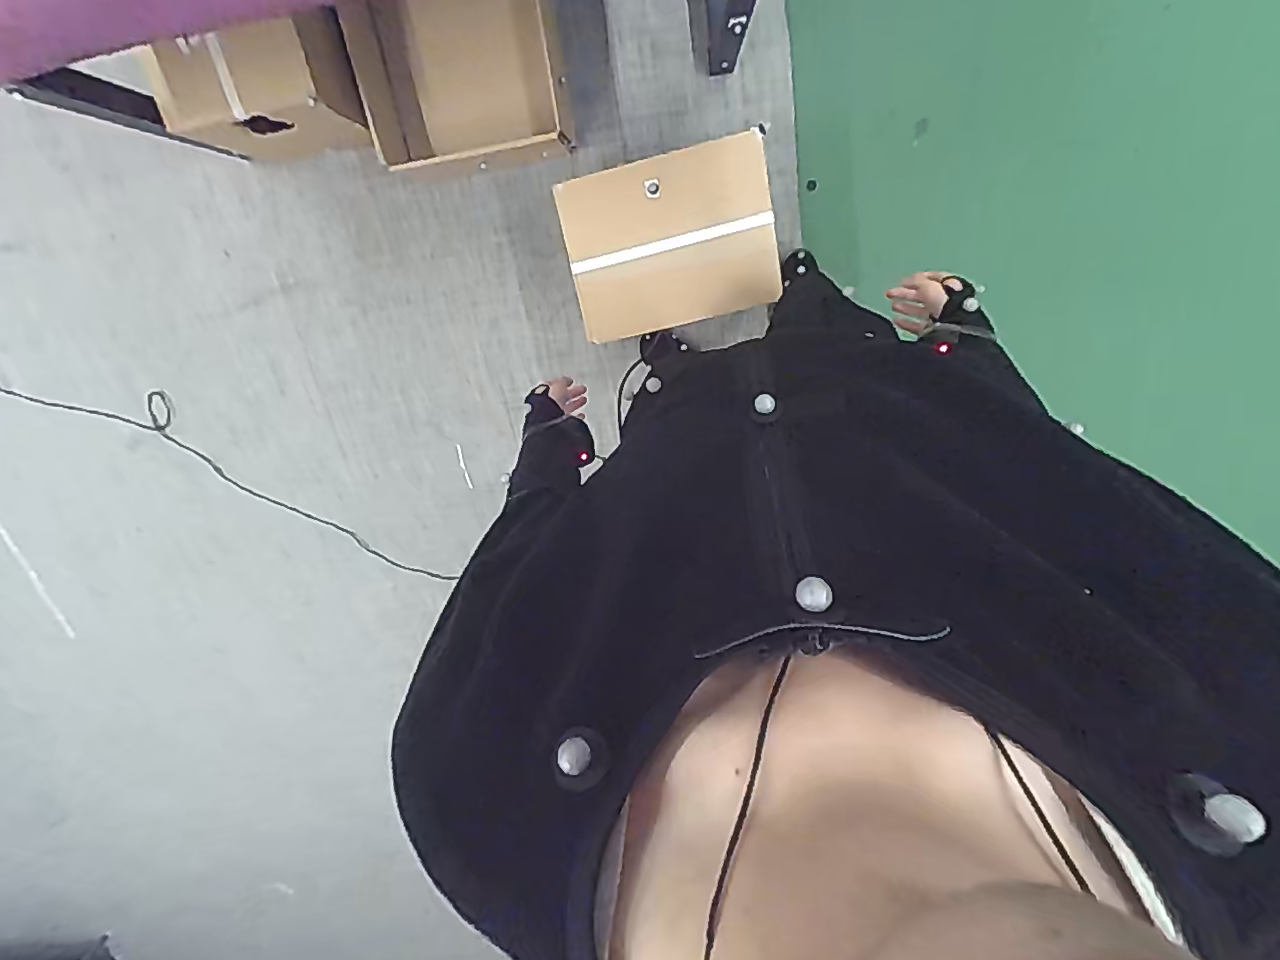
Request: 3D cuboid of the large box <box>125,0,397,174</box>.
[{"bbox_3d":[-0.764,-0.903,1.107,0.320,0.320,0.408,-8,110,5],"label":"large box"}]
